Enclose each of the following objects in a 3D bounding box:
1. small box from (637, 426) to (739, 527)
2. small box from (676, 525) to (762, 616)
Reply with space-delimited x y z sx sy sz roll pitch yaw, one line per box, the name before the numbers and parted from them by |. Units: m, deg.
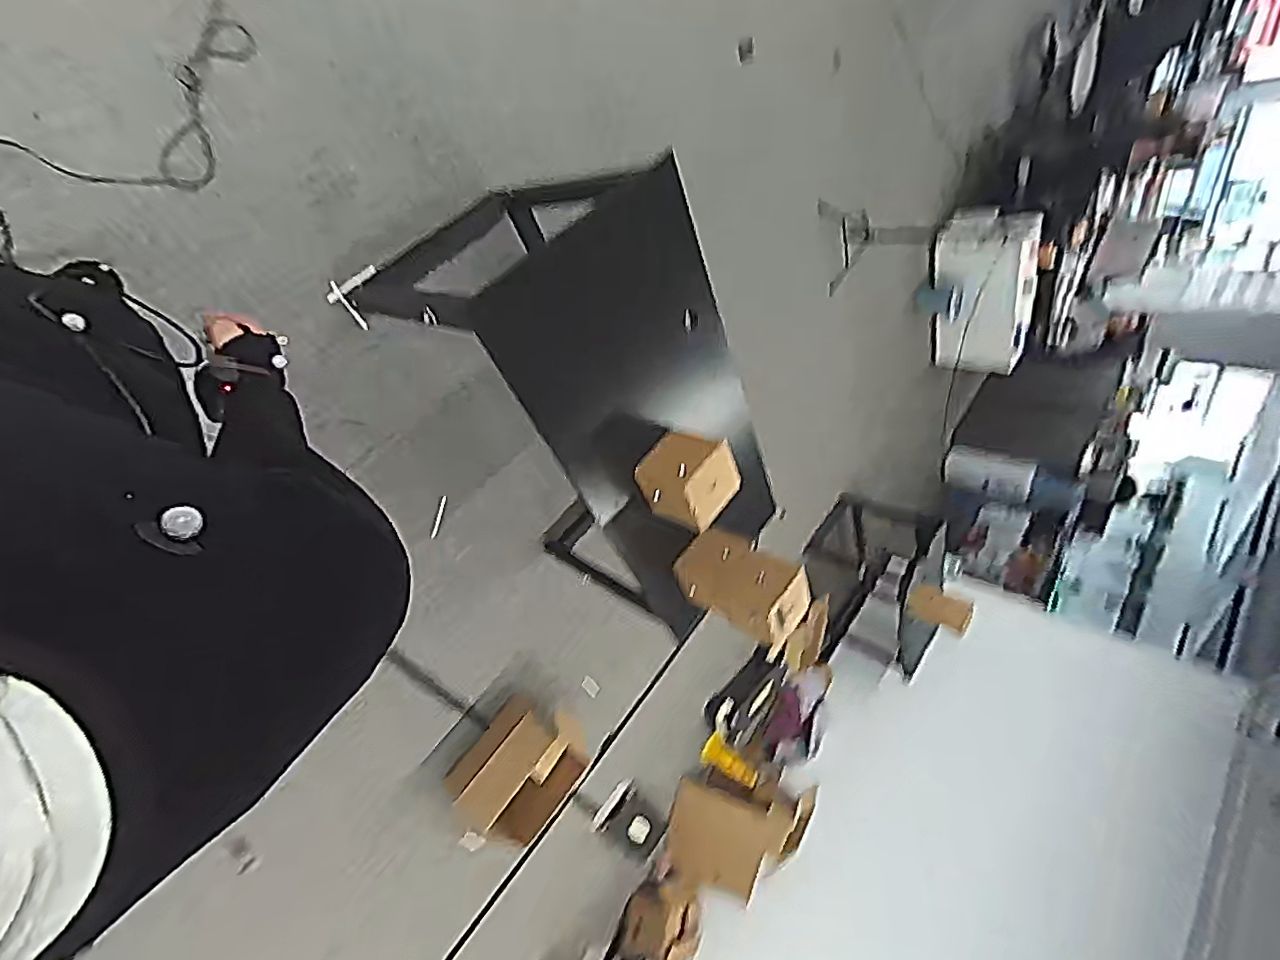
small box | 0.123 -0.015 1.381 0.179 0.176 0.168 -48 134 -21
small box | 0.234 0.261 1.604 0.179 0.176 0.168 -44 132 -25
